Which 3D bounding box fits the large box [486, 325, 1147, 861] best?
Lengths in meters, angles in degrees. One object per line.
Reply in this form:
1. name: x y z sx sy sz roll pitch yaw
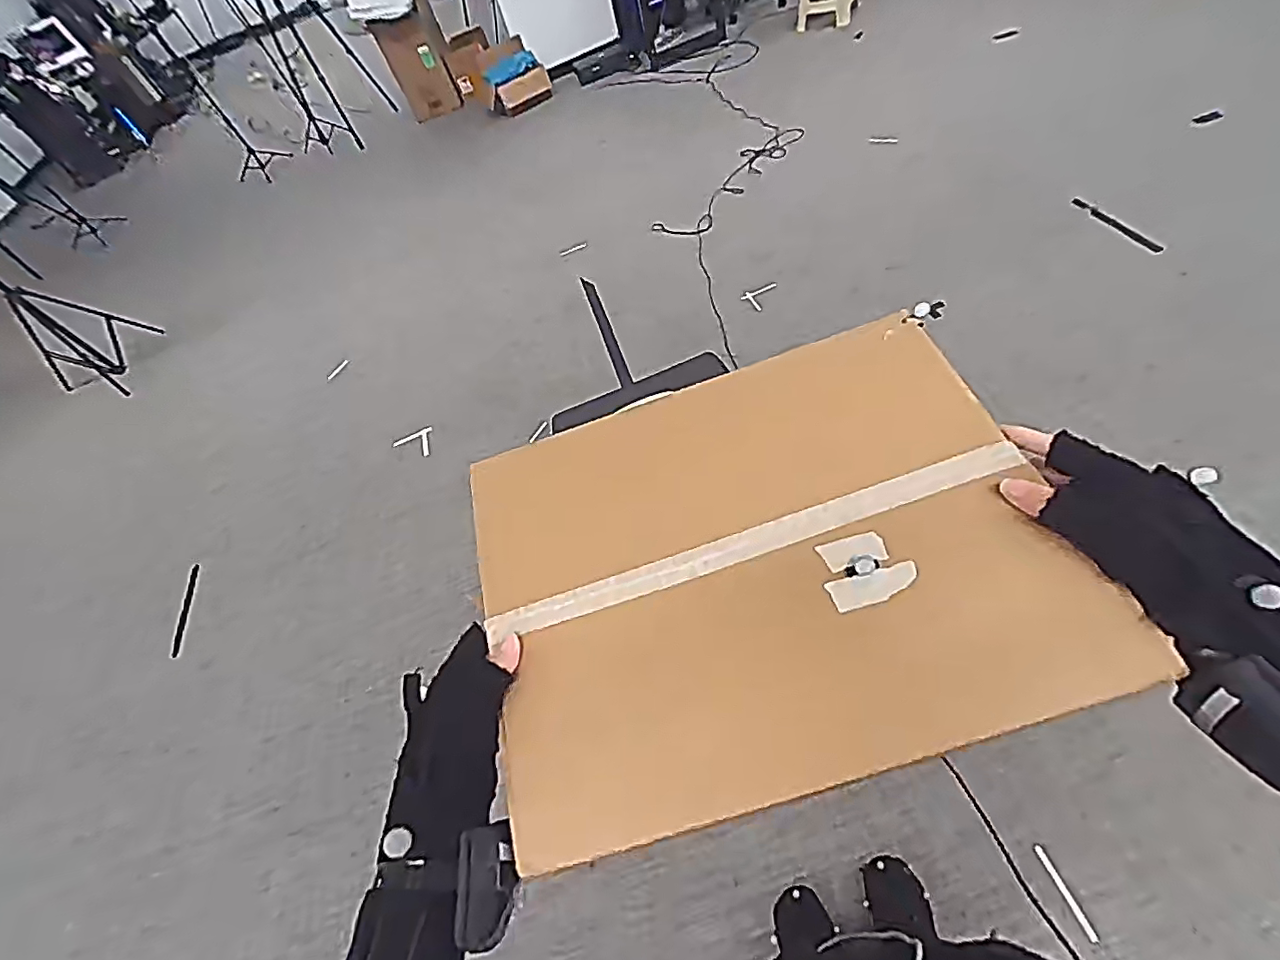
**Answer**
1. large box: 0.113 0.123 0.536 0.408 0.320 0.320 -19 59 3
